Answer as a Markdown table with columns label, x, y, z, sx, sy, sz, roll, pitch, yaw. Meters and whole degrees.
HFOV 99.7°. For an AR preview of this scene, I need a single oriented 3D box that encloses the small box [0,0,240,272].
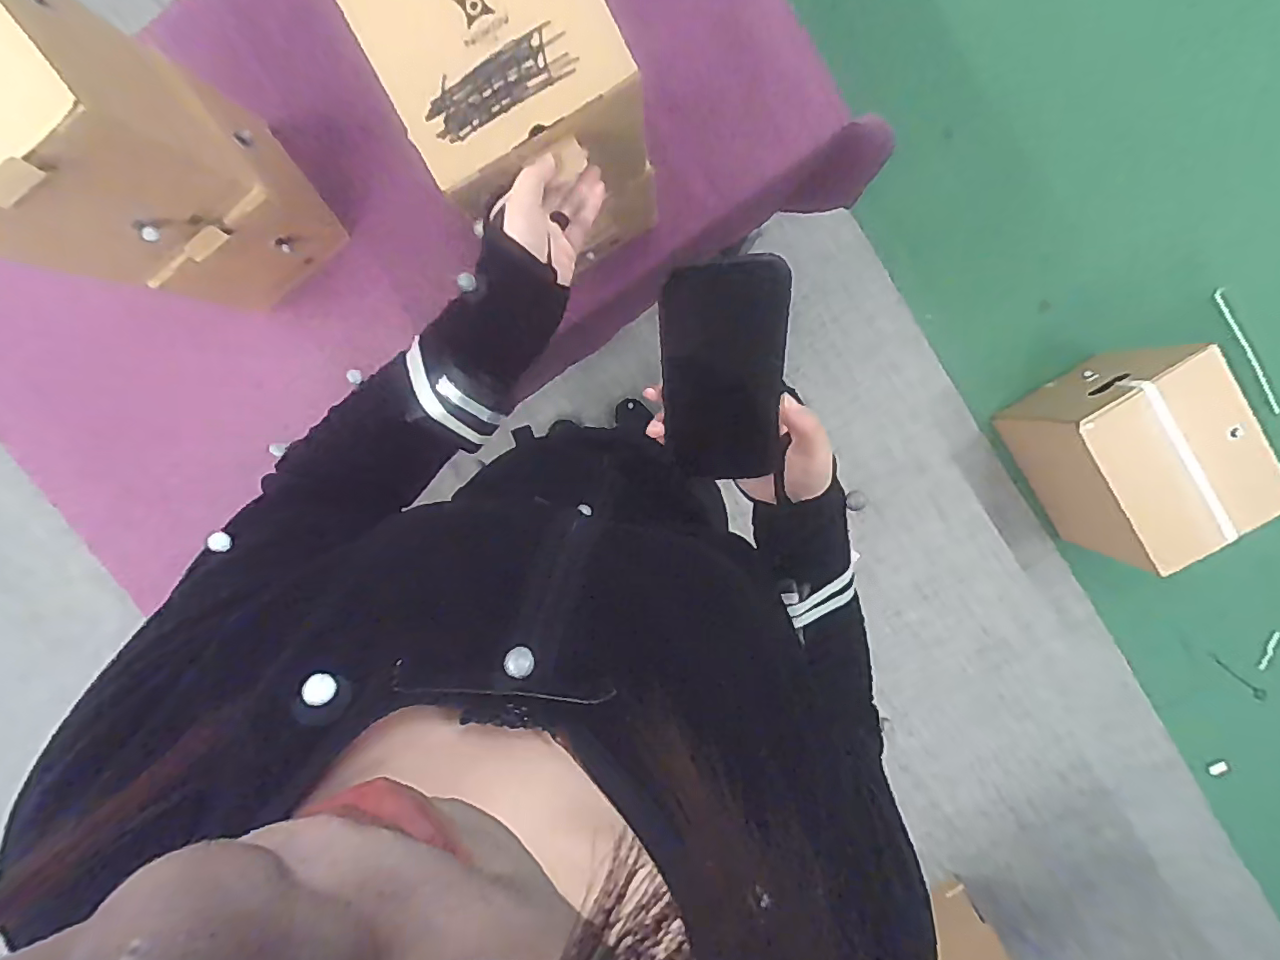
| label | x | y | z | sx | sy | sz | roll | pitch | yaw |
| --- | --- | --- | --- | --- | --- | --- | --- | --- | --- |
| small box | -0.517 | -0.313 | 0.471 | 0.168 | 0.176 | 0.179 | -35 | 97 | 7 |

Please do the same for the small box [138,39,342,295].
| label | x | y | z | sx | sy | sz | roll | pitch | yaw |
| --- | --- | --- | --- | --- | --- | --- | --- | --- | --- |
| small box | -0.498 | -0.338 | 0.633 | 0.168 | 0.176 | 0.179 | -34 | 96 | 6 |

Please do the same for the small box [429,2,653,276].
| label | x | y | z | sx | sy | sz | roll | pitch | yaw |
| --- | --- | --- | --- | --- | --- | --- | --- | --- | --- |
| small box | -0.098 | -0.362 | 0.616 | 0.168 | 0.176 | 0.179 | -29 | 98 | 6 |
